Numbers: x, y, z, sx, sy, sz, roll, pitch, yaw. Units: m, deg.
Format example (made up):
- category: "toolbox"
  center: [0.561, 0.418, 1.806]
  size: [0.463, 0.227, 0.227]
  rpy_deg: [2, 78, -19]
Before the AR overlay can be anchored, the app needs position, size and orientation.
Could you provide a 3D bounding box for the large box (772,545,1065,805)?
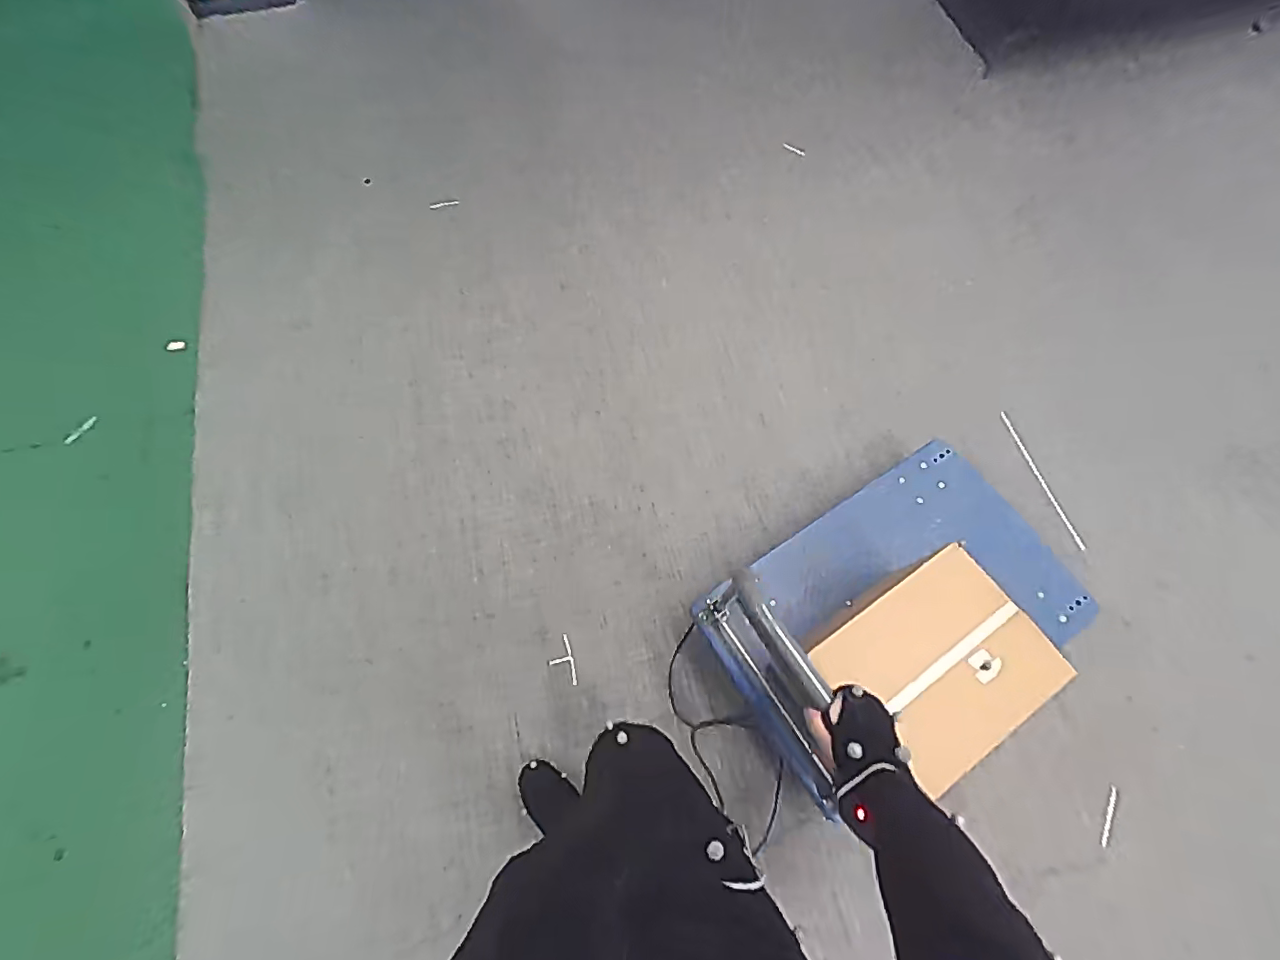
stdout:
- category: "large box"
  center: [0.561, 0.408, 1.165]
  size: [0.408, 0.320, 0.320]
  rpy_deg: [-31, 72, -12]
